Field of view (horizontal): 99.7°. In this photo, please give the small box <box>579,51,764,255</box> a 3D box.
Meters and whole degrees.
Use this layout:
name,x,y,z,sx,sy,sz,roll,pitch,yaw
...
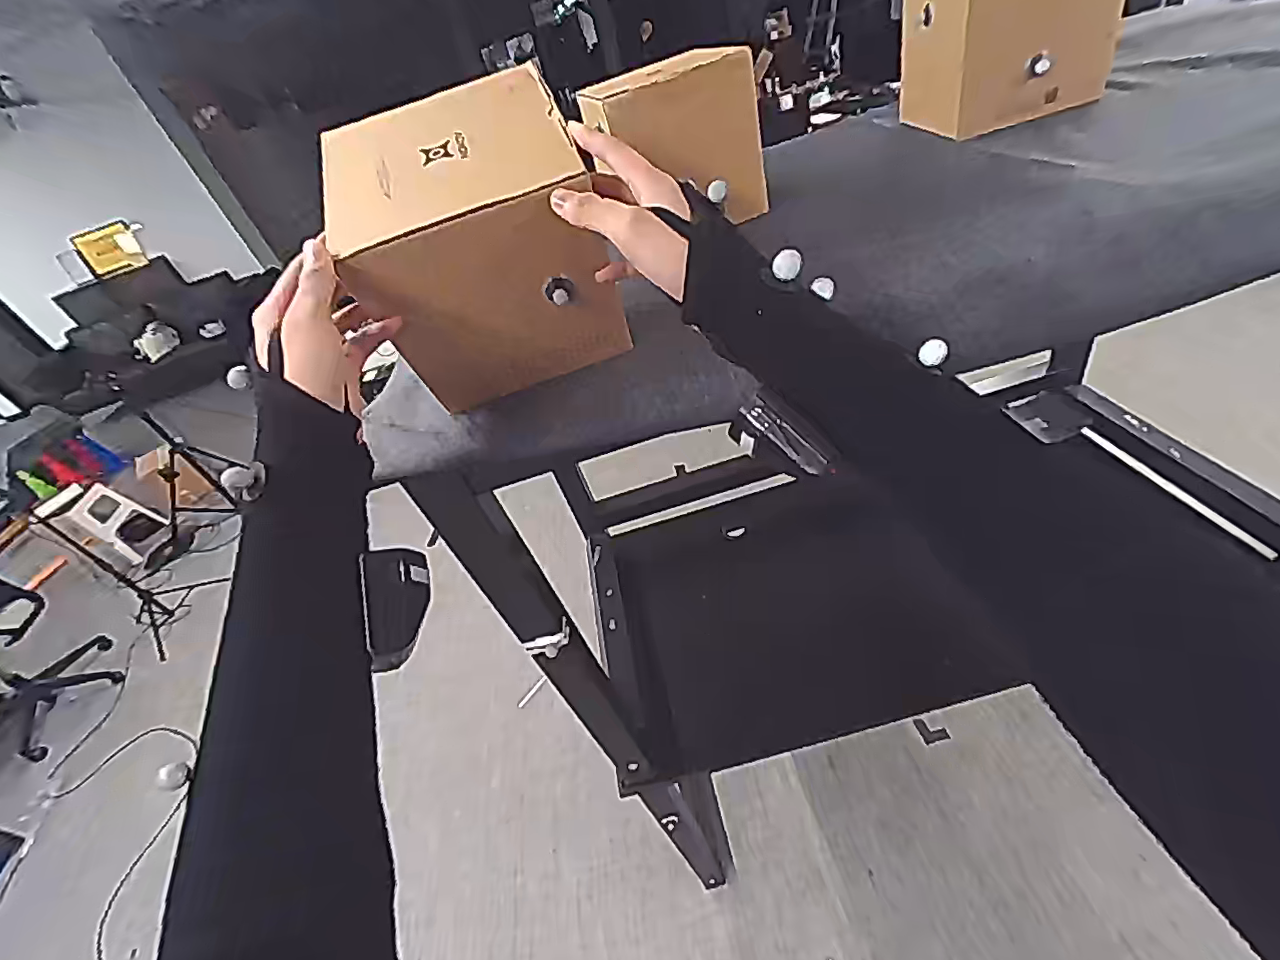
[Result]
name,x,y,z,sx,sy,sz,roll,pitch,yaw
small box,0.038,-0.399,0.666,0.168,0.176,0.179,-21,40,-2

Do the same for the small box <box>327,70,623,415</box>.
name,x,y,z,sx,sy,sz,roll,pitch,yaw
small box,-0.121,-0.184,0.444,0.179,0.176,0.168,-20,59,-2

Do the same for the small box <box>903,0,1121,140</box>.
name,x,y,z,sx,sy,sz,roll,pitch,yaw
small box,0.438,-0.540,0.661,0.168,0.176,0.179,-14,40,8
